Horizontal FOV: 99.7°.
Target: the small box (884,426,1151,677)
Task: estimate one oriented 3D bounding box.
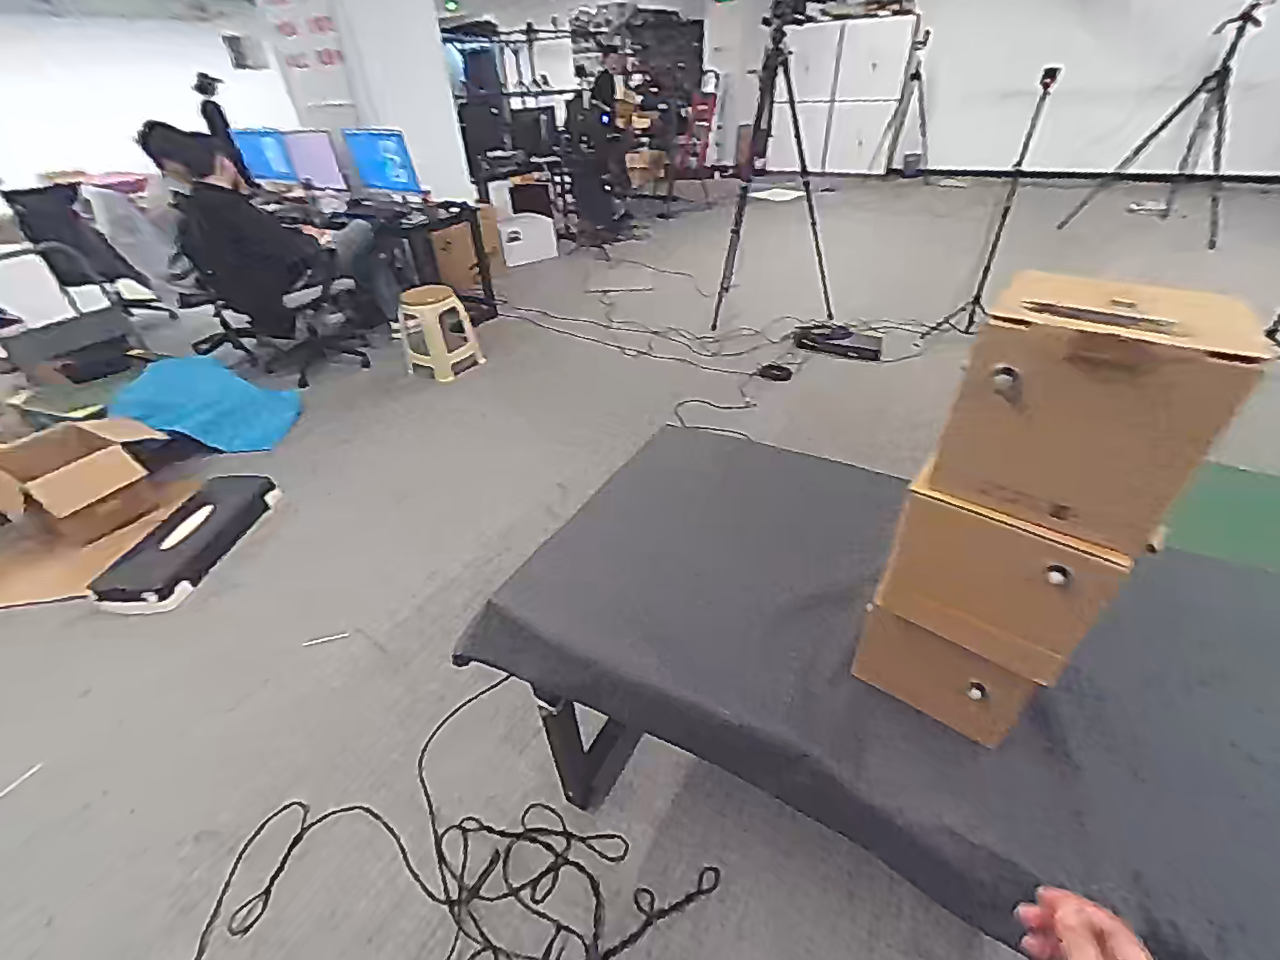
[{"bbox_3d":[0.385,0.070,0.572,0.179,0.176,0.168,25,44,32],"label":"small box"}]

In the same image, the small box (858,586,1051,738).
[{"bbox_3d":[0.402,0.190,0.683,0.179,0.176,0.168,23,43,32],"label":"small box"}]
